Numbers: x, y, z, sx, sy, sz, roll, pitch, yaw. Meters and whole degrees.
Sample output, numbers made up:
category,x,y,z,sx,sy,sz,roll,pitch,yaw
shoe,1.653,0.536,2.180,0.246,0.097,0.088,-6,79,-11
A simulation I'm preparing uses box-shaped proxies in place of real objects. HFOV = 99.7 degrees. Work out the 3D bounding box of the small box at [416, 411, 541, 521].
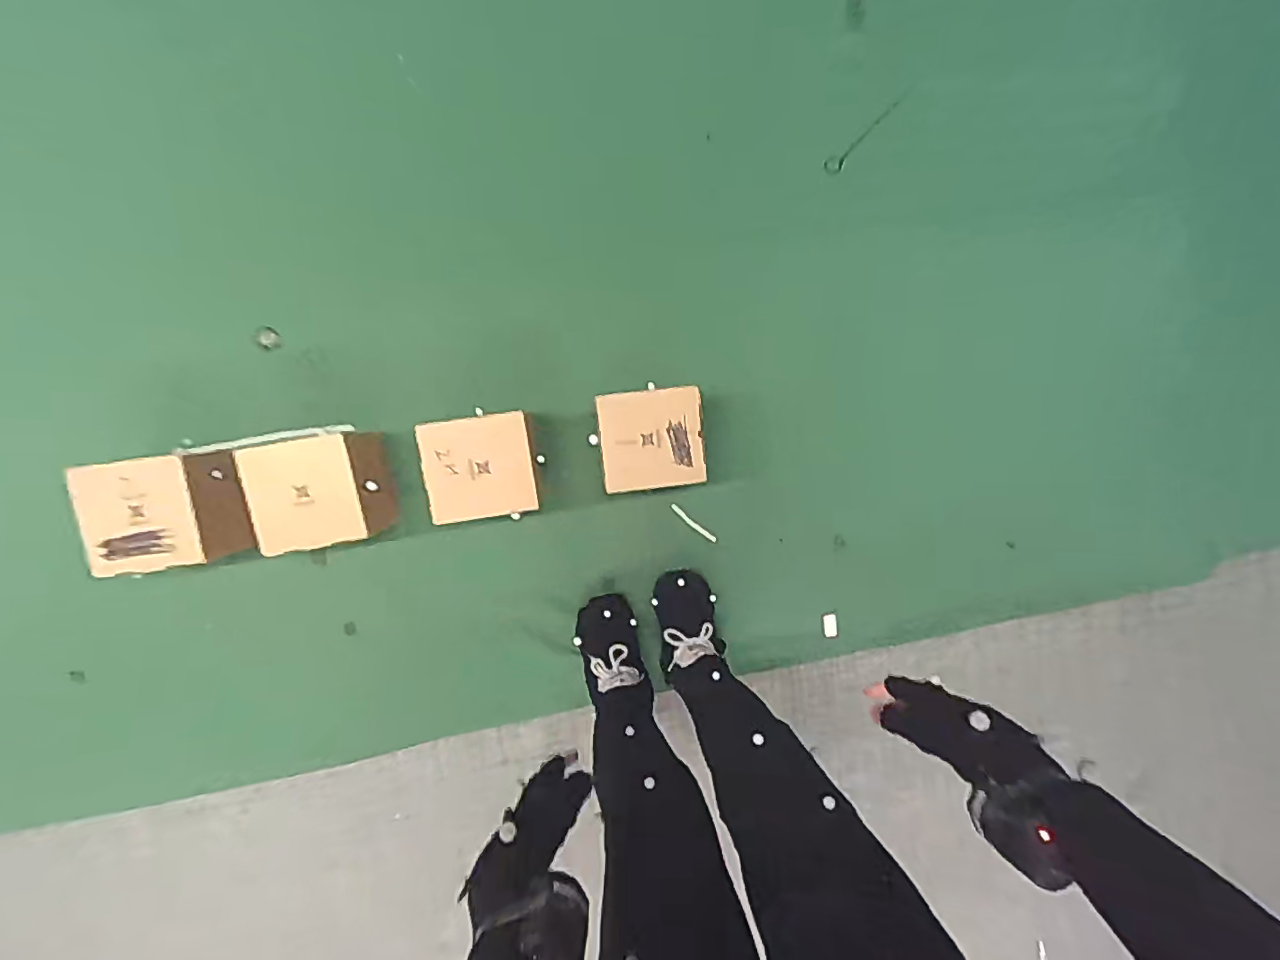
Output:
category,x,y,z,sx,sy,sz,roll,pitch,yaw
small box,-0.273,-0.033,0.958,0.179,0.176,0.168,-8,98,-6

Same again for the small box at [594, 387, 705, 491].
category,x,y,z,sx,sy,sz,roll,pitch,yaw
small box,0.011,-0.079,0.985,0.179,0.176,0.168,-6,97,-5

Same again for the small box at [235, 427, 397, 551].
category,x,y,z,sx,sy,sz,roll,pitch,yaw
small box,-0.544,0.007,0.934,0.168,0.176,0.179,-10,98,-5
